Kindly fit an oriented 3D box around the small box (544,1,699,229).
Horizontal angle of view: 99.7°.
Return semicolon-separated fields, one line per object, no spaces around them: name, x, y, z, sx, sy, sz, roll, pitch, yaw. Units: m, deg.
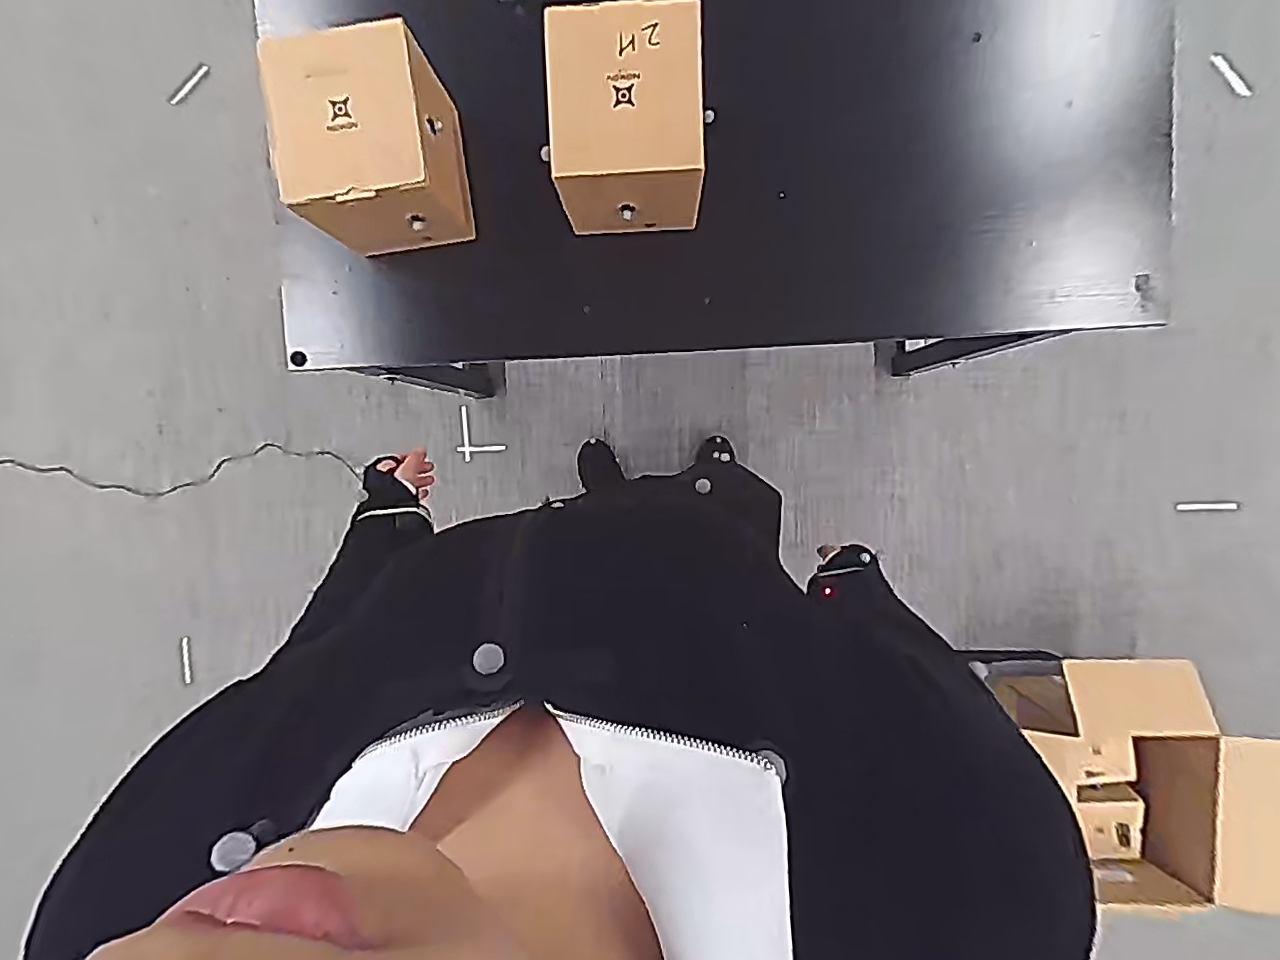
small box;-0.015;-0.417;0.652;0.168;0.176;0.179;-1;94;2

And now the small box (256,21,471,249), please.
small box;-0.322;-0.402;0.666;0.168;0.176;0.179;-8;93;1
